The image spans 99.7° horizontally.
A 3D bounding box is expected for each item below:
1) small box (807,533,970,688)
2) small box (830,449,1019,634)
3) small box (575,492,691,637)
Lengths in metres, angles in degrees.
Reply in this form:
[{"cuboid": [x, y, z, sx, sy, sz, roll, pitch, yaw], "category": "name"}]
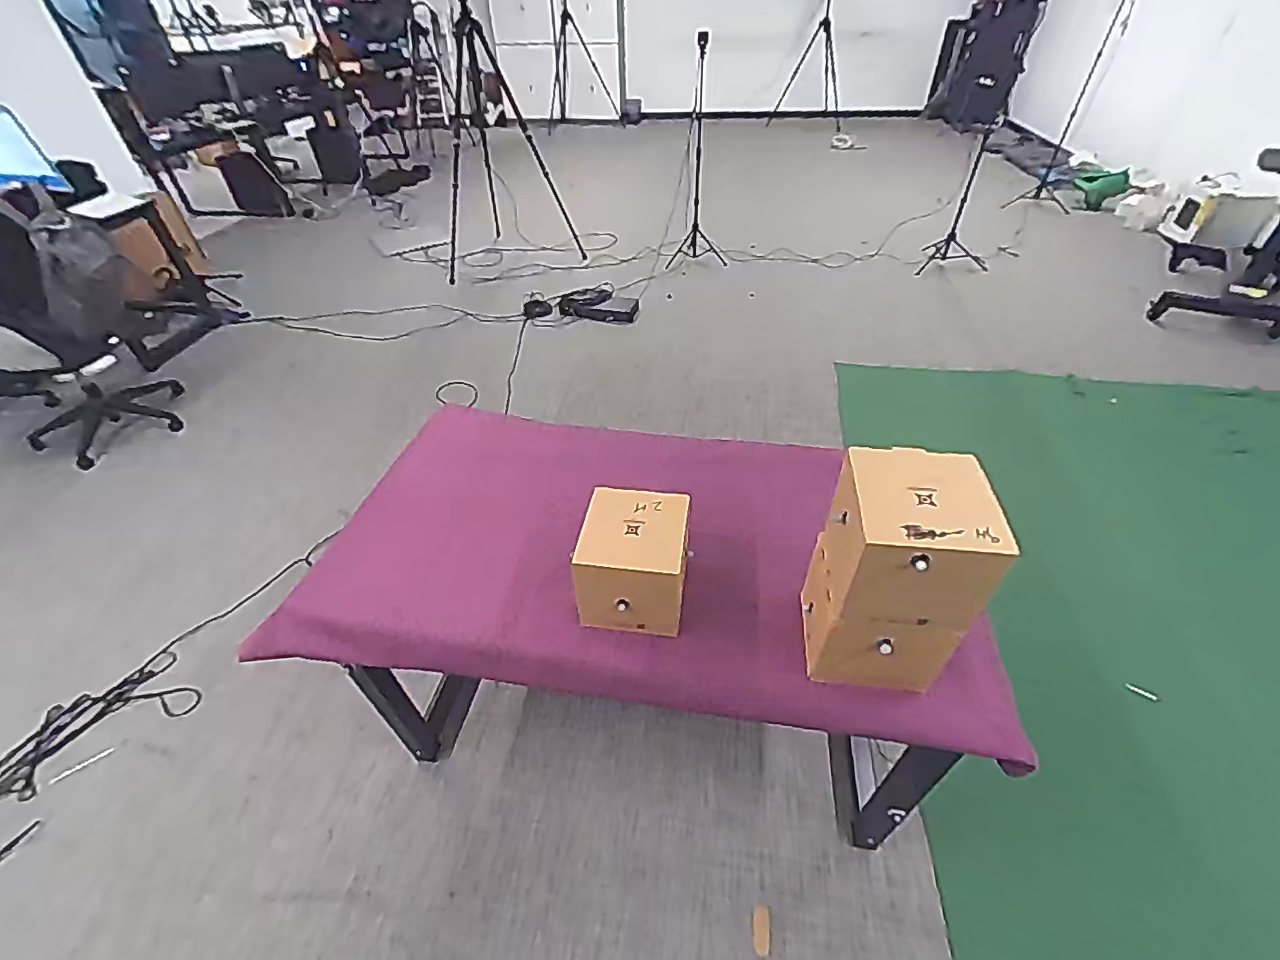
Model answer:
[{"cuboid": [0.364, 0.201, 0.830, 0.179, 0.176, 0.168, 2, 43, 9], "category": "small box"}, {"cuboid": [0.357, 0.079, 0.721, 0.168, 0.176, 0.179, 2, 42, 10], "category": "small box"}, {"cuboid": [-0.002, 0.145, 0.919, 0.168, 0.176, 0.179, 4, 41, 8], "category": "small box"}]
